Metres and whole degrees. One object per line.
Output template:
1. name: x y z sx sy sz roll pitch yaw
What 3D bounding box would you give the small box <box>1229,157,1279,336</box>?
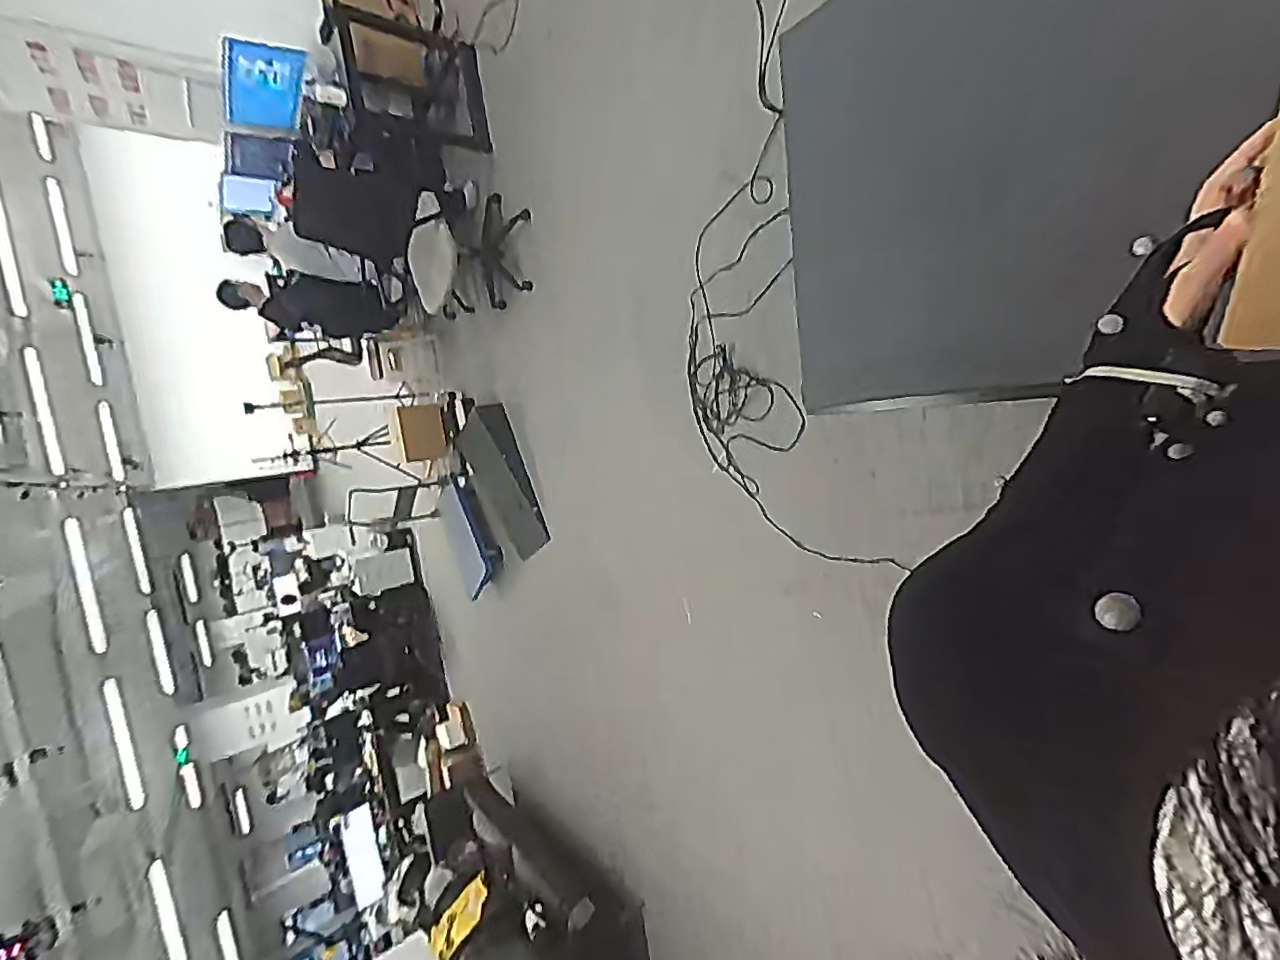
1. small box: 0.459 -0.192 0.280 0.168 0.176 0.179 19 145 46
